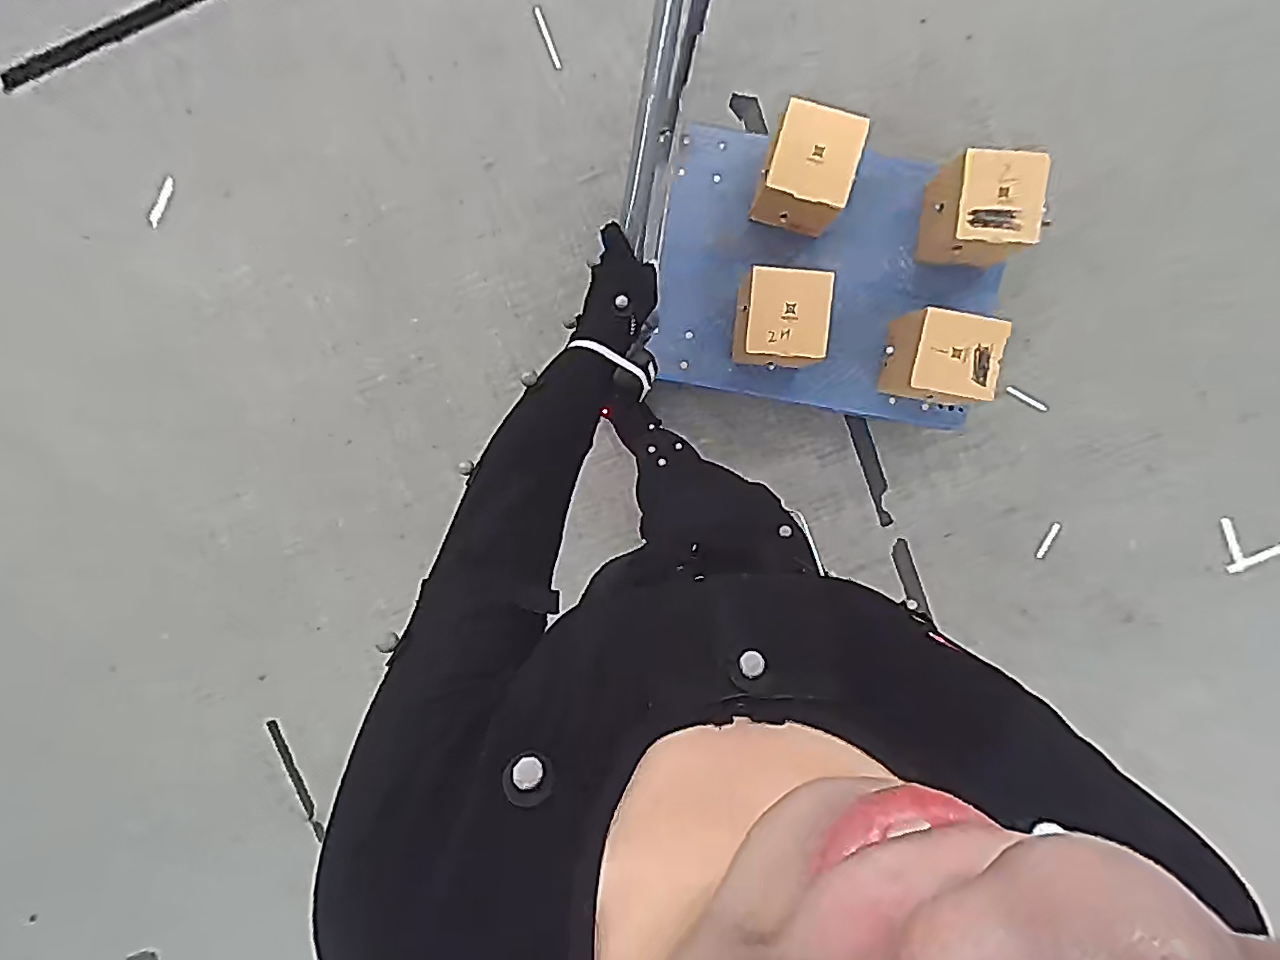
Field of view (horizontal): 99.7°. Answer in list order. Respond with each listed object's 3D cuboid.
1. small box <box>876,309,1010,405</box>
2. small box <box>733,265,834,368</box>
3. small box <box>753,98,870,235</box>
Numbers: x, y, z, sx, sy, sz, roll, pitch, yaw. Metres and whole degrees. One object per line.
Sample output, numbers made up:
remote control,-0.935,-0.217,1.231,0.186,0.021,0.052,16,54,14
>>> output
small box,0.649,-0.260,1.178,0.179,0.176,0.168,11,96,0
small box,0.301,-0.346,1.171,0.168,0.176,0.179,5,96,0
small box,0.350,-0.648,1.140,0.168,0.176,0.179,15,97,-2
